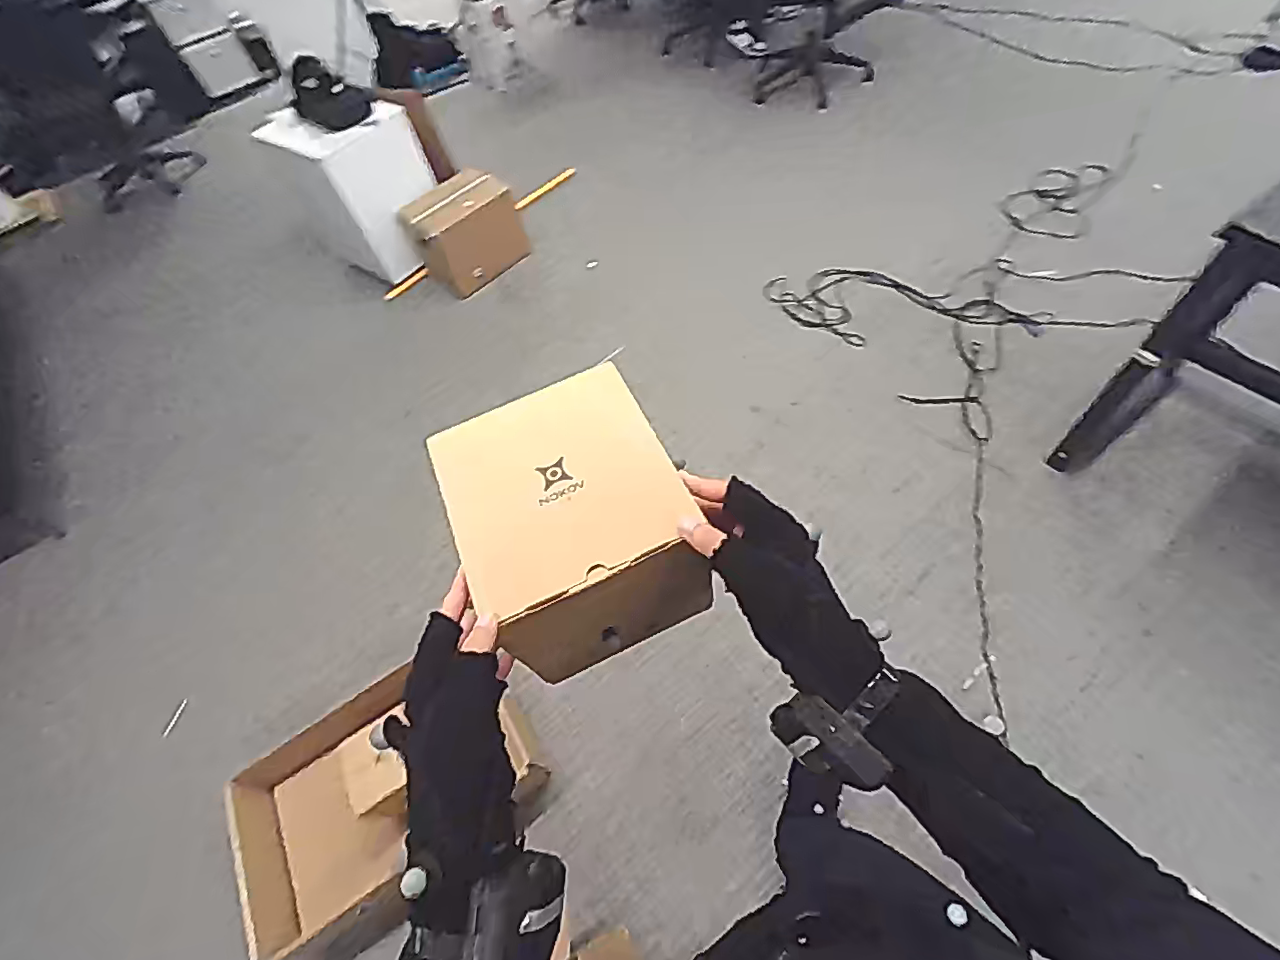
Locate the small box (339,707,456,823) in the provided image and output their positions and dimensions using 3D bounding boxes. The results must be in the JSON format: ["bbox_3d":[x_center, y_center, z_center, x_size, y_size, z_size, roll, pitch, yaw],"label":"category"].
[{"bbox_3d":[-0.548,0.659,1.249,0.179,0.176,0.168,-32,56,-10],"label":"small box"}]
